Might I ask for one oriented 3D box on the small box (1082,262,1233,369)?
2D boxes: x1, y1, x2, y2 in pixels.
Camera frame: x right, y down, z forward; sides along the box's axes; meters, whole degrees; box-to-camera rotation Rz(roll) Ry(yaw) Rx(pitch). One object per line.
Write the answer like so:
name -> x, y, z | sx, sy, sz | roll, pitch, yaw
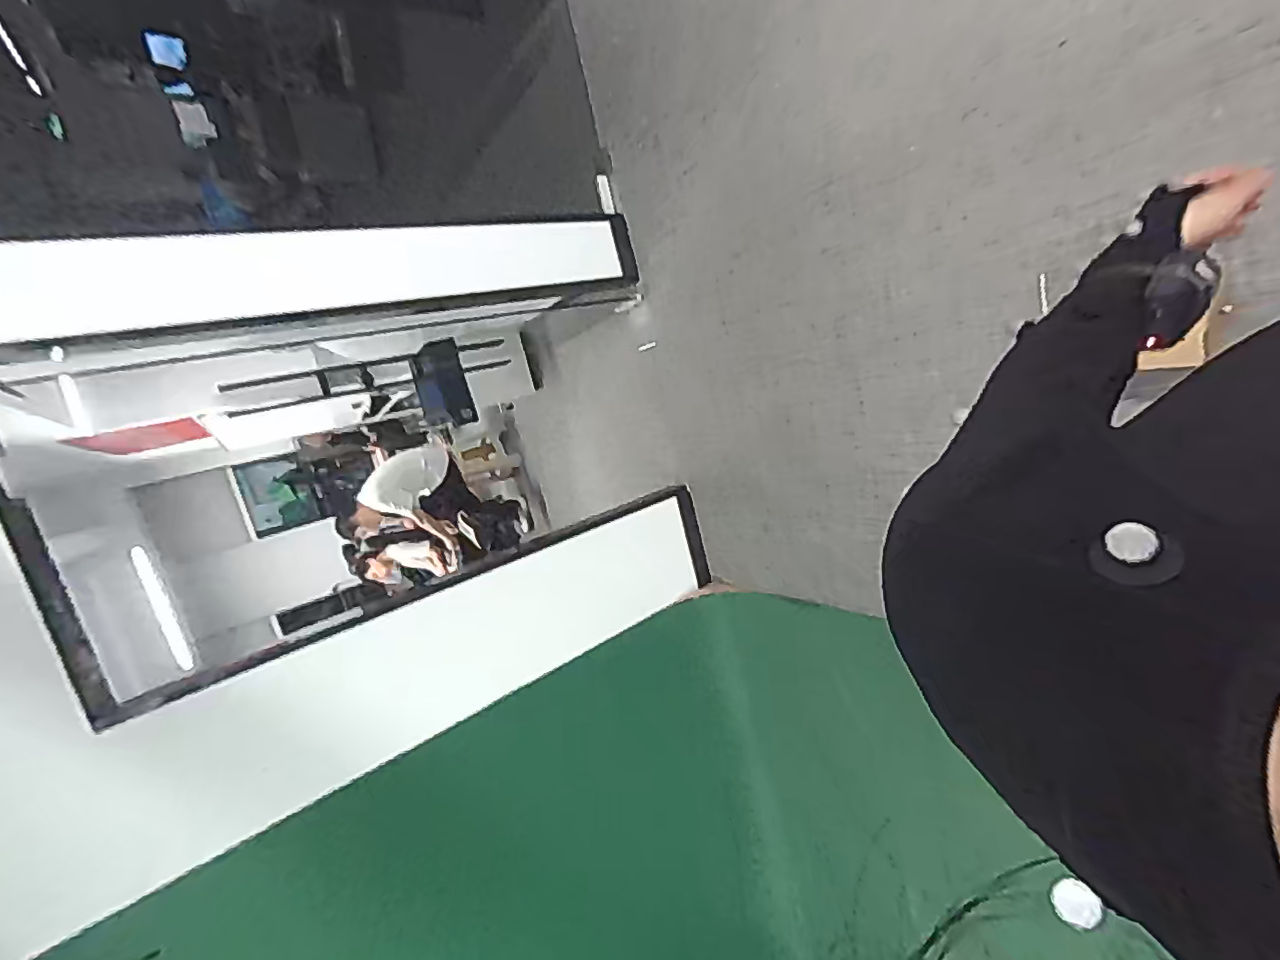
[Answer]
small box -> 0.987, -0.312, 1.036 | 0.179, 0.176, 0.168 | 9, 115, 54
